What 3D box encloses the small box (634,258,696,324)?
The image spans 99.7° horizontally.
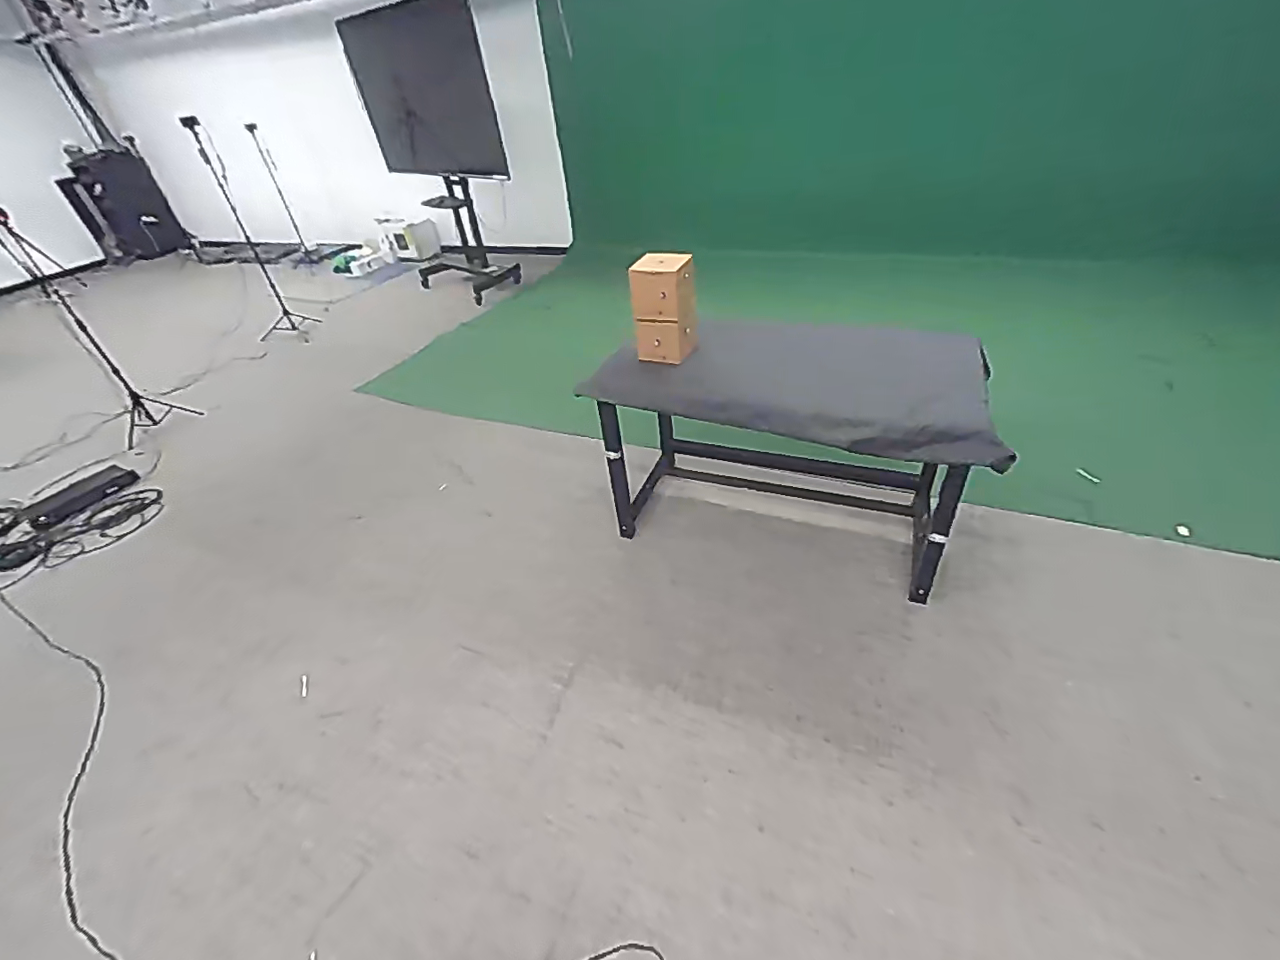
[{"bbox_3d":[0.093,-0.645,1.847,0.168,0.176,0.179,11,41,21],"label":"small box"}]

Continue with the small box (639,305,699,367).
[{"bbox_3d":[0.114,-0.526,1.957,0.168,0.176,0.179,13,42,23],"label":"small box"}]
